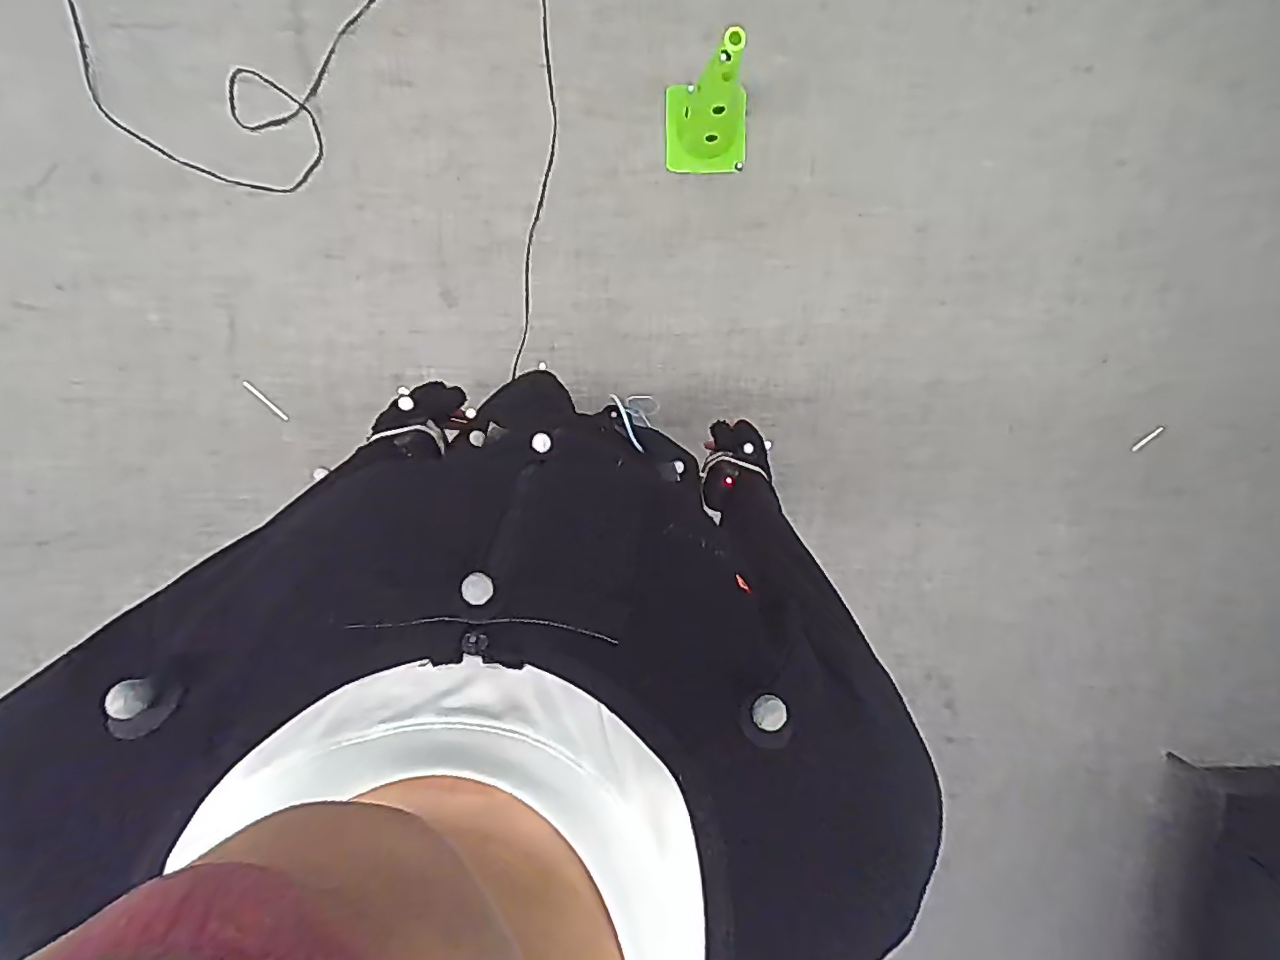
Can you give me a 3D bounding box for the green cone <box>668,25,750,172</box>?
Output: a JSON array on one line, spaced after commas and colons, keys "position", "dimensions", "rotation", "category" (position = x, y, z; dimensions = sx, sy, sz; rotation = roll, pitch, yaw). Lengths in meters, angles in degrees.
[{"position": [0.173, -0.852, 1.177], "dimensions": [0.202, 0.368, 0.200], "rotation": [-1, 98, 0], "category": "green cone"}]
